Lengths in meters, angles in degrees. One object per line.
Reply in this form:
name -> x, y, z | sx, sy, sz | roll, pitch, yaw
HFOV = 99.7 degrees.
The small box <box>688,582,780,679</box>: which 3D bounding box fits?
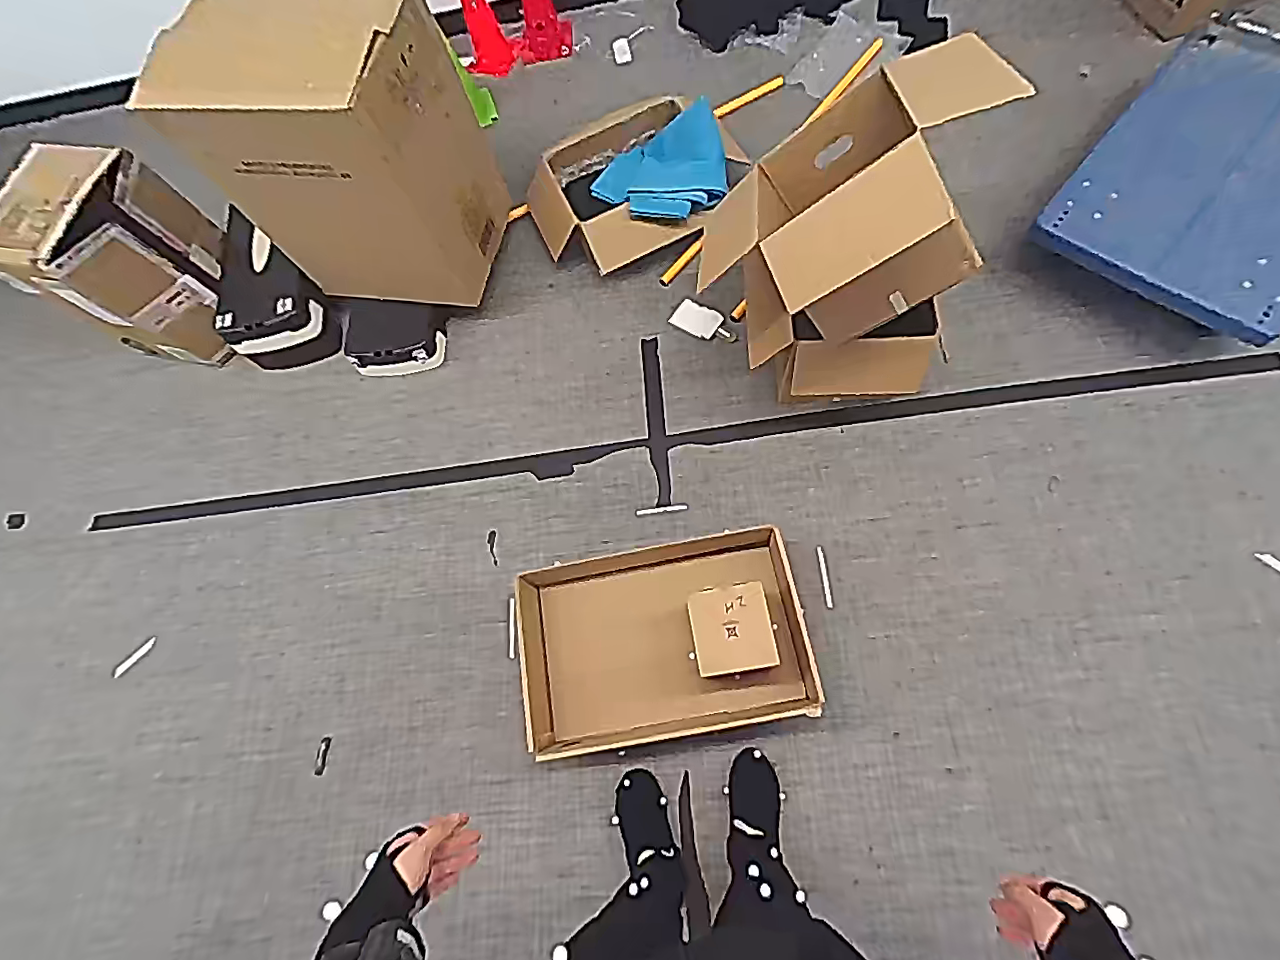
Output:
small box -> 0.204, 0.336, 1.198 | 0.168, 0.176, 0.179 | -10, 69, 4
